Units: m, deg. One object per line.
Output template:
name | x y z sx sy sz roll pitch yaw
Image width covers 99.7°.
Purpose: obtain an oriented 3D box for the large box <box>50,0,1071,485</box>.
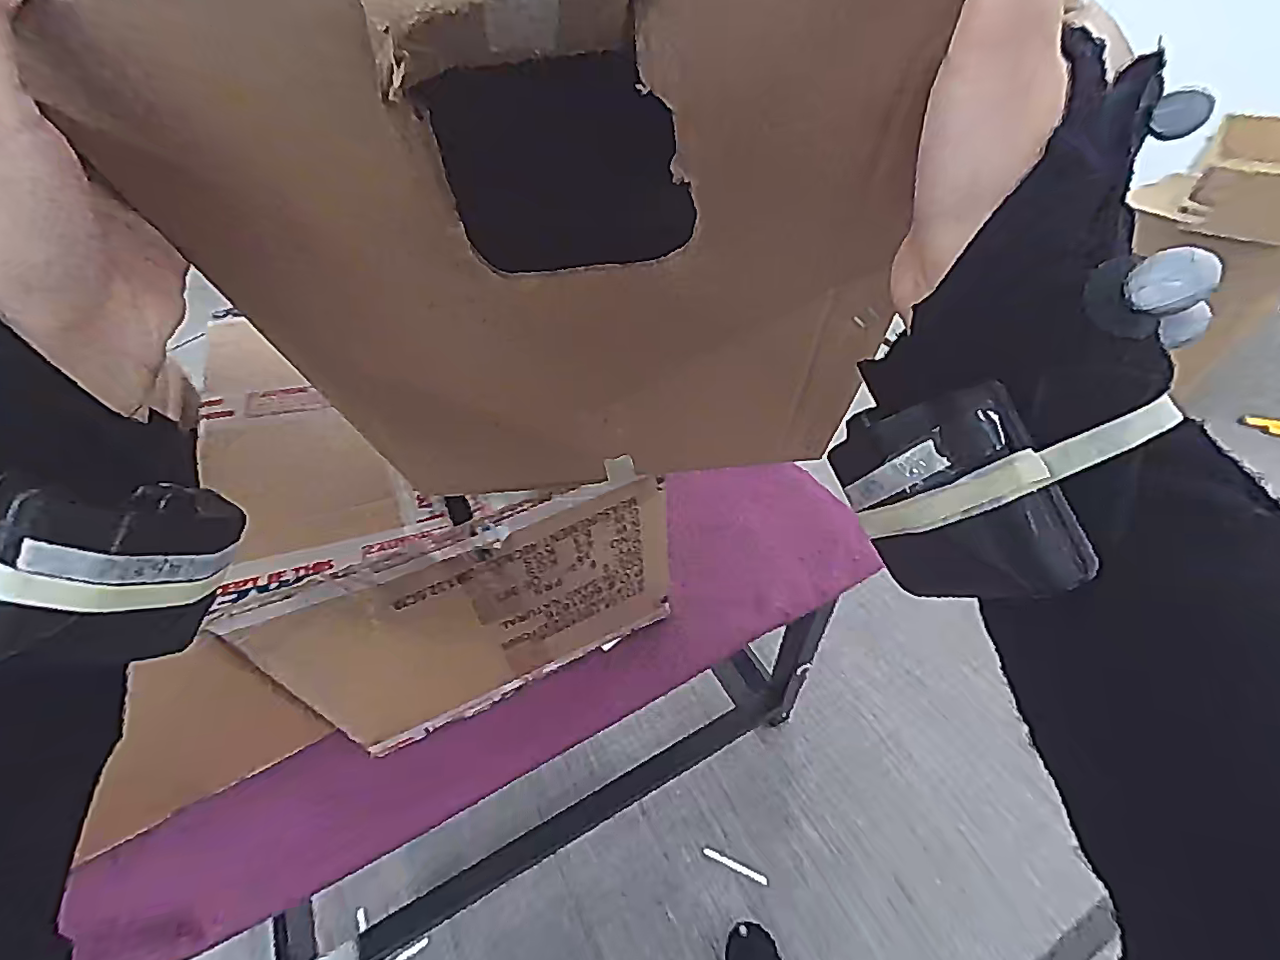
large box | -0.027 -0.251 0.370 0.320 0.320 0.408 -7 64 2
